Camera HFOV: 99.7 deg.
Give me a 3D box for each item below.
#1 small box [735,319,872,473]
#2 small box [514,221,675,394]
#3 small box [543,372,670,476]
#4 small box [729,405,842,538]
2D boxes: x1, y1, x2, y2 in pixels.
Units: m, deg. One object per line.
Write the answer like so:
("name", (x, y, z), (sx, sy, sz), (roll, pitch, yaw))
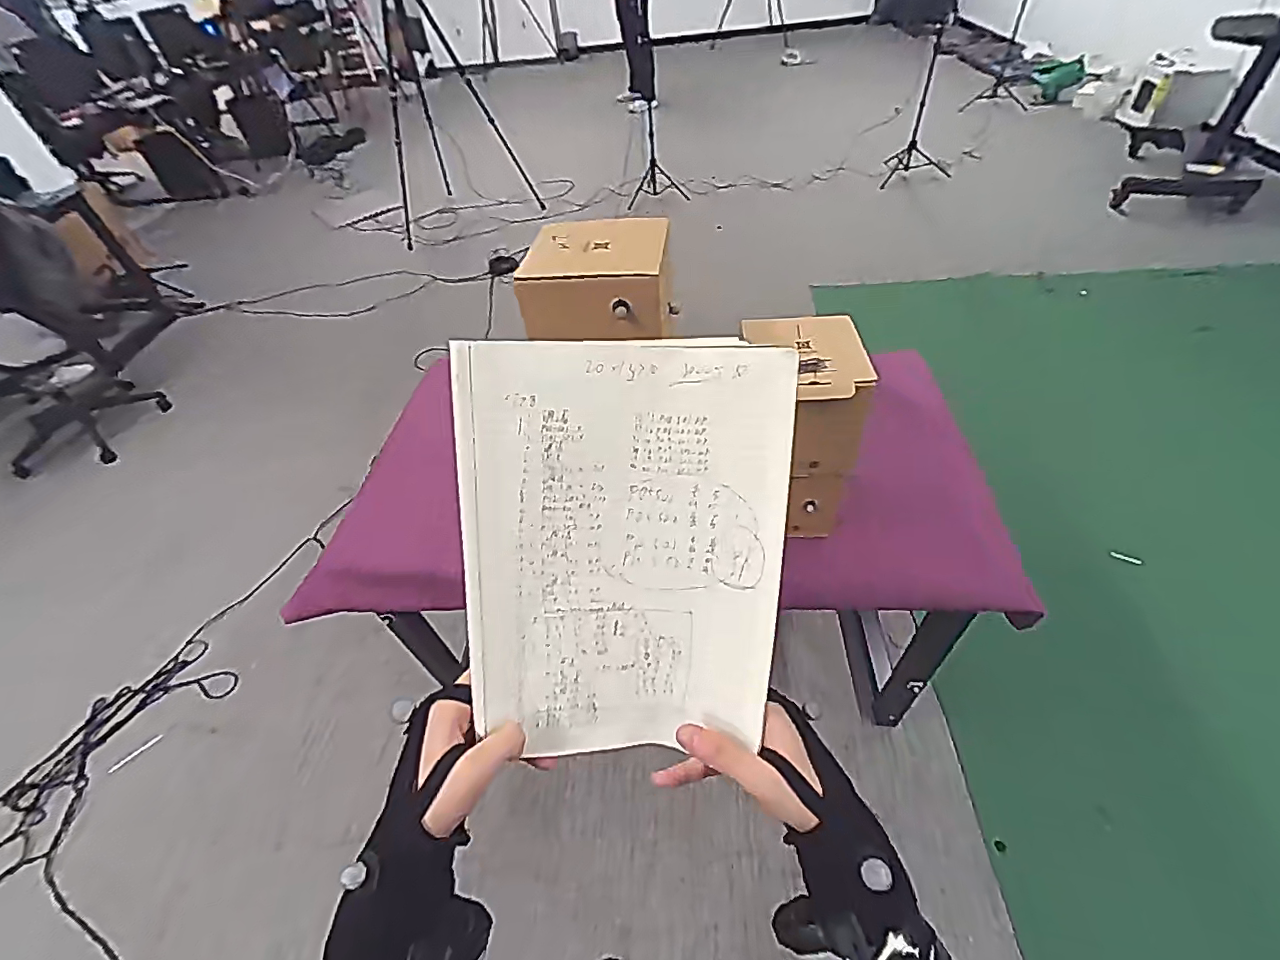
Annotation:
("small box", (0.235, -0.124, 0.826), (0.168, 0.176, 0.179), (0, 45, 5))
("small box", (-0.046, -0.229, 0.730), (0.179, 0.176, 0.168), (1, 45, 8))
("small box", (-0.040, -0.119, 0.853), (0.168, 0.176, 0.179), (0, 46, 7))
("small box", (0.244, -0.014, 0.947), (0.168, 0.176, 0.179), (0, 46, 6))
